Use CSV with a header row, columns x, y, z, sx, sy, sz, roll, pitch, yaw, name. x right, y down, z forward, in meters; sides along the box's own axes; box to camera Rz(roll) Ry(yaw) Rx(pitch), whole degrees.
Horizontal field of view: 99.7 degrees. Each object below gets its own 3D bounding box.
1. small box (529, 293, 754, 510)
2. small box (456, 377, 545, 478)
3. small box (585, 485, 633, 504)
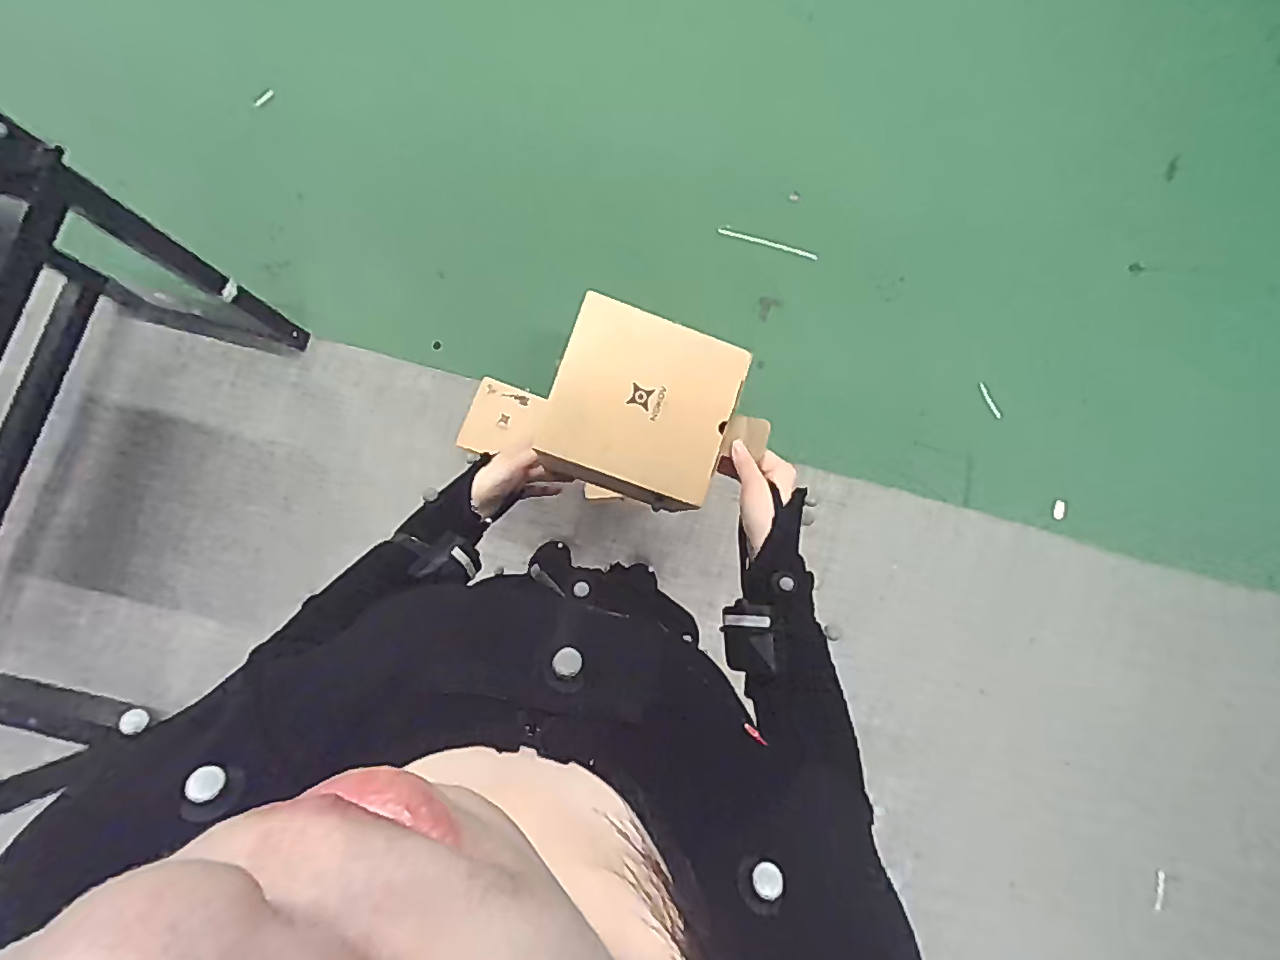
x,y,z,sx,sy,sz,roll,pitch,yaw,name
-0.005,-0.068,0.588,0.179,0.176,0.168,19,84,-5,small box
-0.308,-0.116,1.295,0.168,0.176,0.179,21,83,2,small box
-0.041,-0.032,1.294,0.179,0.176,0.168,-5,85,-3,small box
